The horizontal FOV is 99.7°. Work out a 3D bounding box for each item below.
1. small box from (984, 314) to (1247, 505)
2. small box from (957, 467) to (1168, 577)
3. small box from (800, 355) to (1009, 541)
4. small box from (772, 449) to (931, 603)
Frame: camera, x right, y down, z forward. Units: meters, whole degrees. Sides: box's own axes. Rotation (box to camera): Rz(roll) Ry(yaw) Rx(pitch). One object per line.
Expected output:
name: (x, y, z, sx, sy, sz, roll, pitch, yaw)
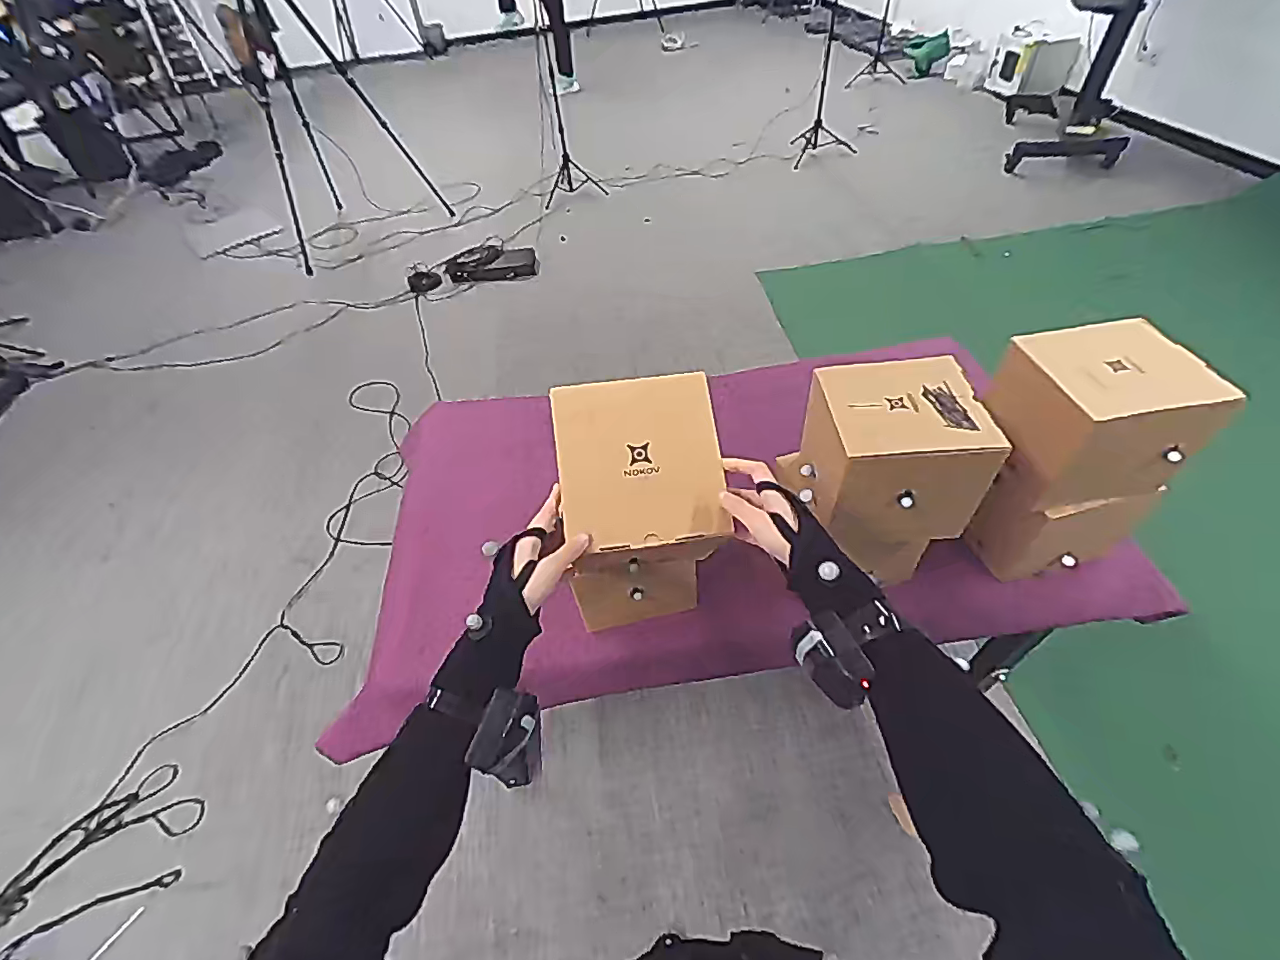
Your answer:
small box: (0.581, -0.087, 0.703, 0.179, 0.176, 0.168, -9, 49, 1)
small box: (0.609, 0.023, 0.821, 0.179, 0.176, 0.168, -13, 48, -4)
small box: (0.316, -0.037, 0.692, 0.179, 0.176, 0.168, -4, 48, 4)
small box: (0.314, 0.058, 0.829, 0.168, 0.176, 0.179, -15, 48, -5)
